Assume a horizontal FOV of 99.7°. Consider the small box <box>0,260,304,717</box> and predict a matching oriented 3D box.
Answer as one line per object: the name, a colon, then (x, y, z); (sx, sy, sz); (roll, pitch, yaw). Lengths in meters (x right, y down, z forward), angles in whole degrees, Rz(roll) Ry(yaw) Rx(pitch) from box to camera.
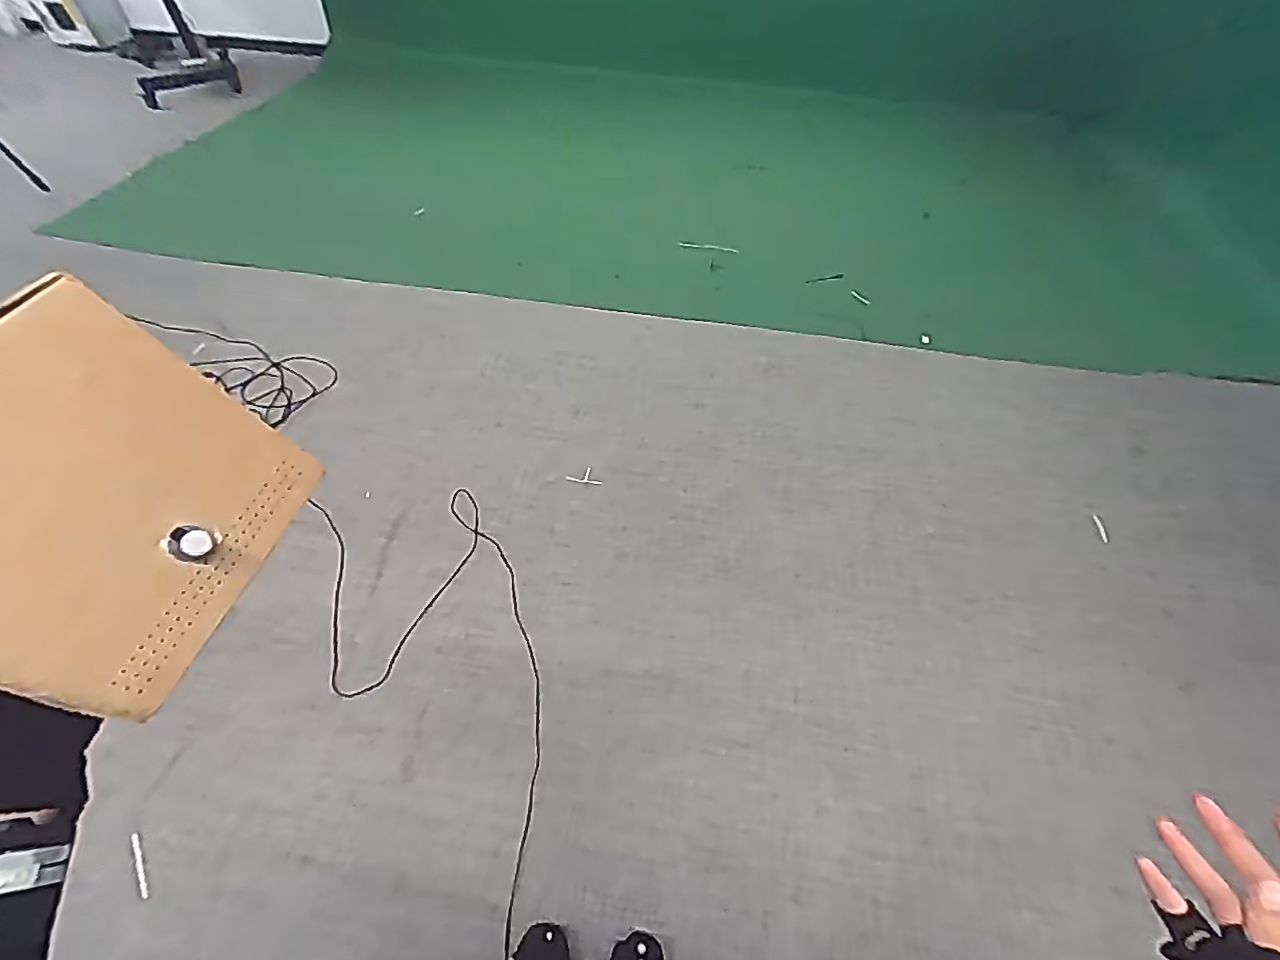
small box: (-0.340, 0.013, 0.311); (0.168, 0.176, 0.179); (-6, 50, 27)
